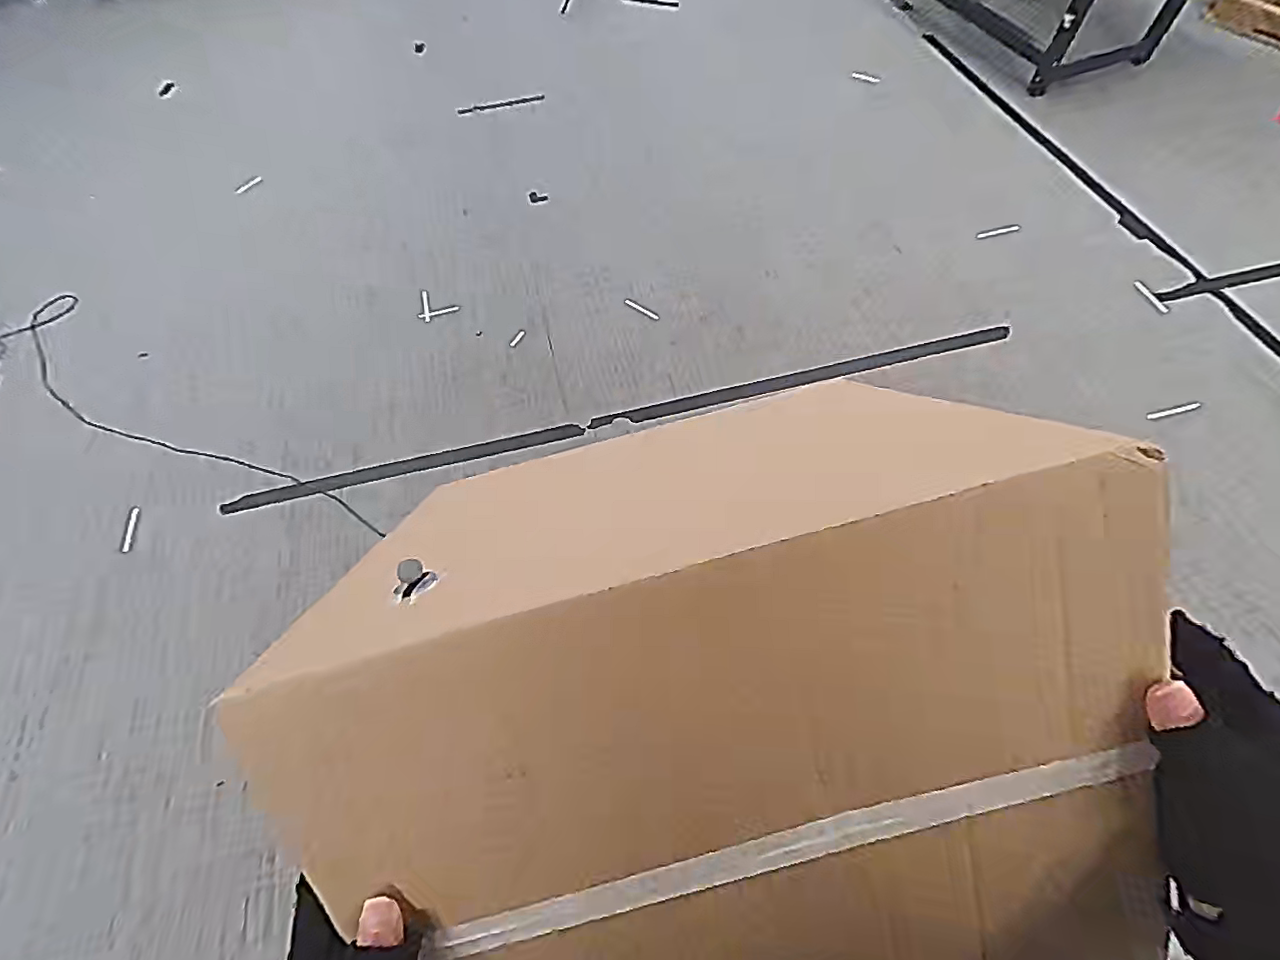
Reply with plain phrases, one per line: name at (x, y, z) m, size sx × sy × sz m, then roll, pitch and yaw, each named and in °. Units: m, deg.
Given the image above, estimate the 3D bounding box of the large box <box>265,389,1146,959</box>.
large box at (0.050, 0.140, 0.419) m, size 0.408 × 0.320 × 0.320 m, roll -15°, pitch 107°, yaw 1°
